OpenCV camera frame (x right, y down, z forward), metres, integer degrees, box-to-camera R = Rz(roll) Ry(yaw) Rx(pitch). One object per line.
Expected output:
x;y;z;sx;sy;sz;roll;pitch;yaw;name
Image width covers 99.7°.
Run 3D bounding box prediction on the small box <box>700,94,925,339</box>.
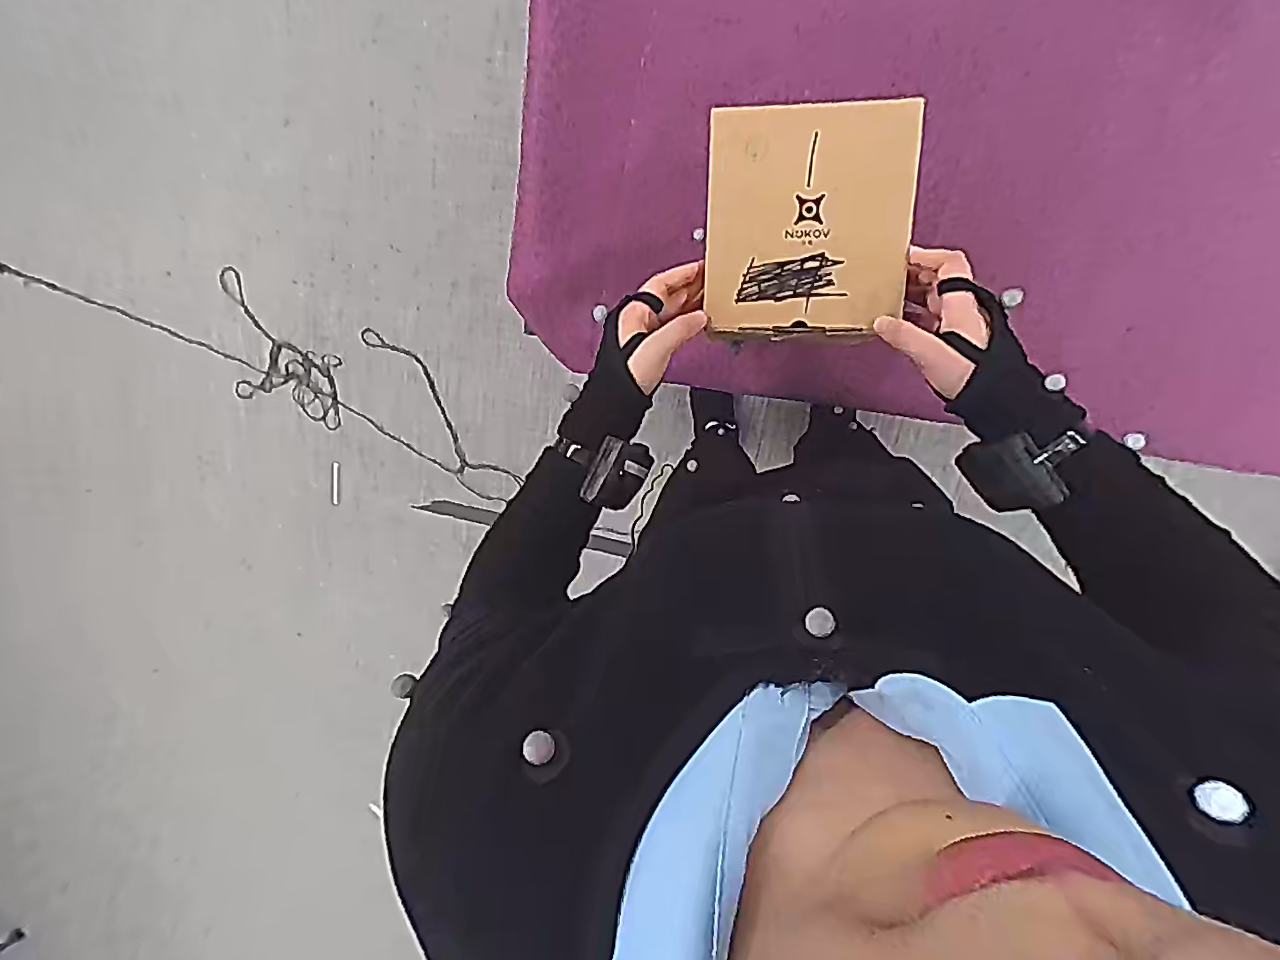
0.147;-0.230;0.518;0.168;0.176;0.179;3;100;7;small box
